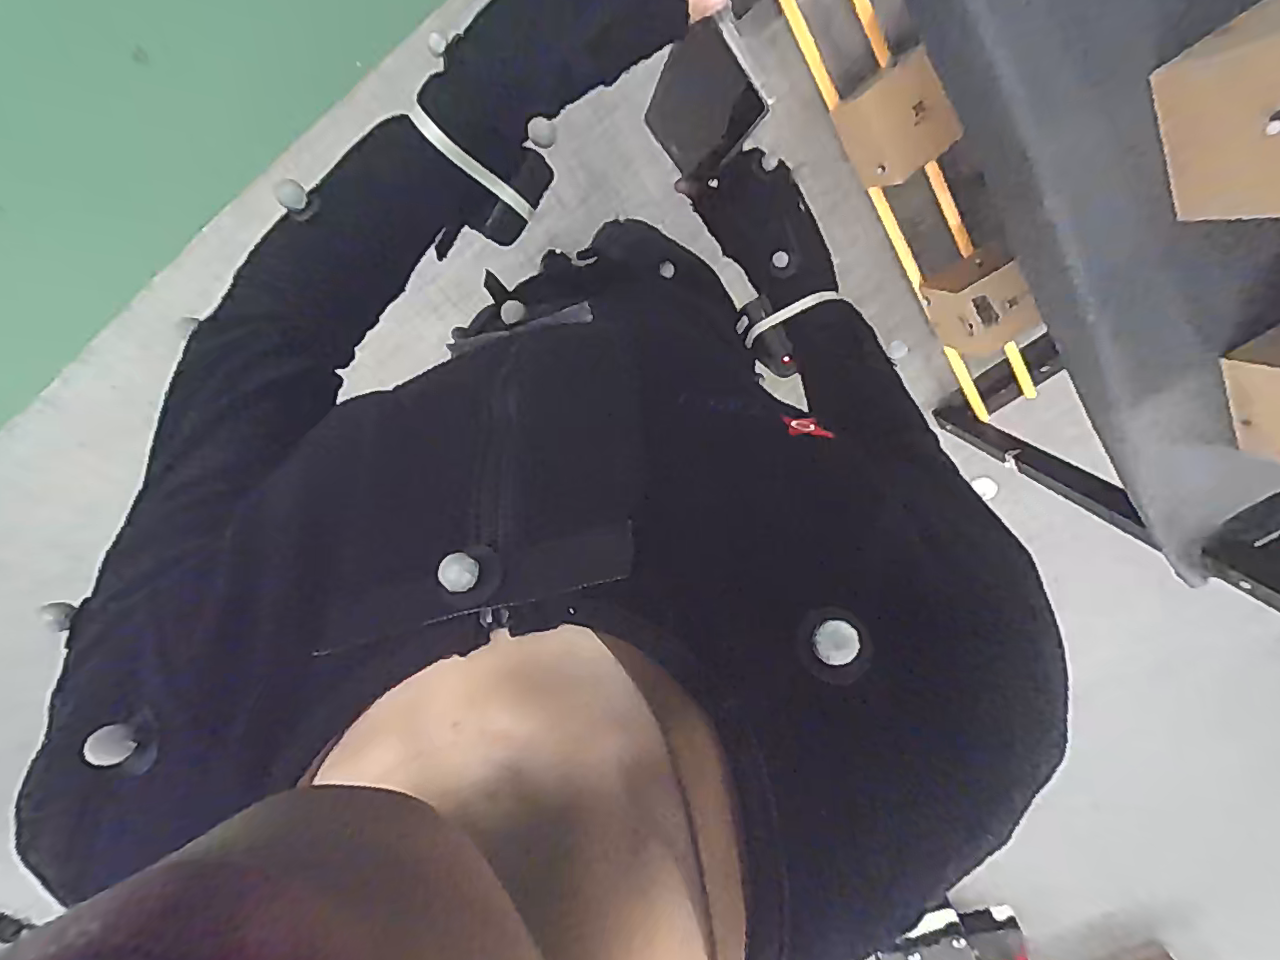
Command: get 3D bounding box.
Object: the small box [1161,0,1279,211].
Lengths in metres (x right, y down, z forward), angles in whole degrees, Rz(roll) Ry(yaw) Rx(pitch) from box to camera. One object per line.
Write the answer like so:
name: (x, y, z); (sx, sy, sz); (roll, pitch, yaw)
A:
small box: (0.674, -0.390, 0.531); (0.168, 0.176, 0.179); (-32, 112, 10)

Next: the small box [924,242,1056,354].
small box: (0.770, -0.409, 1.212); (0.179, 0.176, 0.168); (-31, 112, 10)
